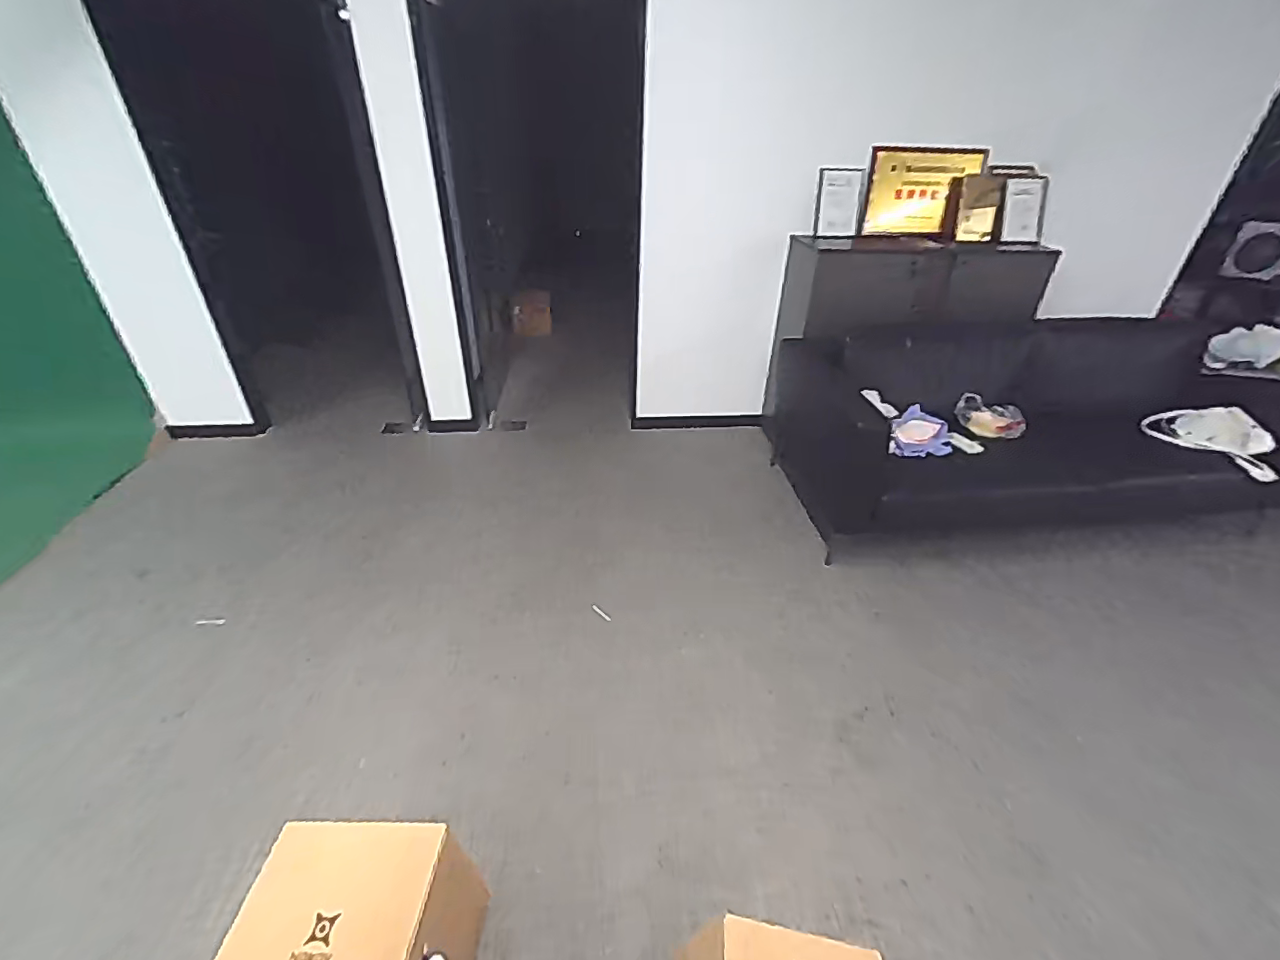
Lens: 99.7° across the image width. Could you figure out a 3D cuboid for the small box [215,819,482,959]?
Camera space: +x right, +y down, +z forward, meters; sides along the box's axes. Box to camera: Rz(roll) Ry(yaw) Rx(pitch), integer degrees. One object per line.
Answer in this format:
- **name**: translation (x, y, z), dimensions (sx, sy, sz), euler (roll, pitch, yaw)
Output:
- **small box**: translation (-0.261, 0.447, 0.502), dimensions (0.168, 0.176, 0.179), euler (-3, 37, 5)
